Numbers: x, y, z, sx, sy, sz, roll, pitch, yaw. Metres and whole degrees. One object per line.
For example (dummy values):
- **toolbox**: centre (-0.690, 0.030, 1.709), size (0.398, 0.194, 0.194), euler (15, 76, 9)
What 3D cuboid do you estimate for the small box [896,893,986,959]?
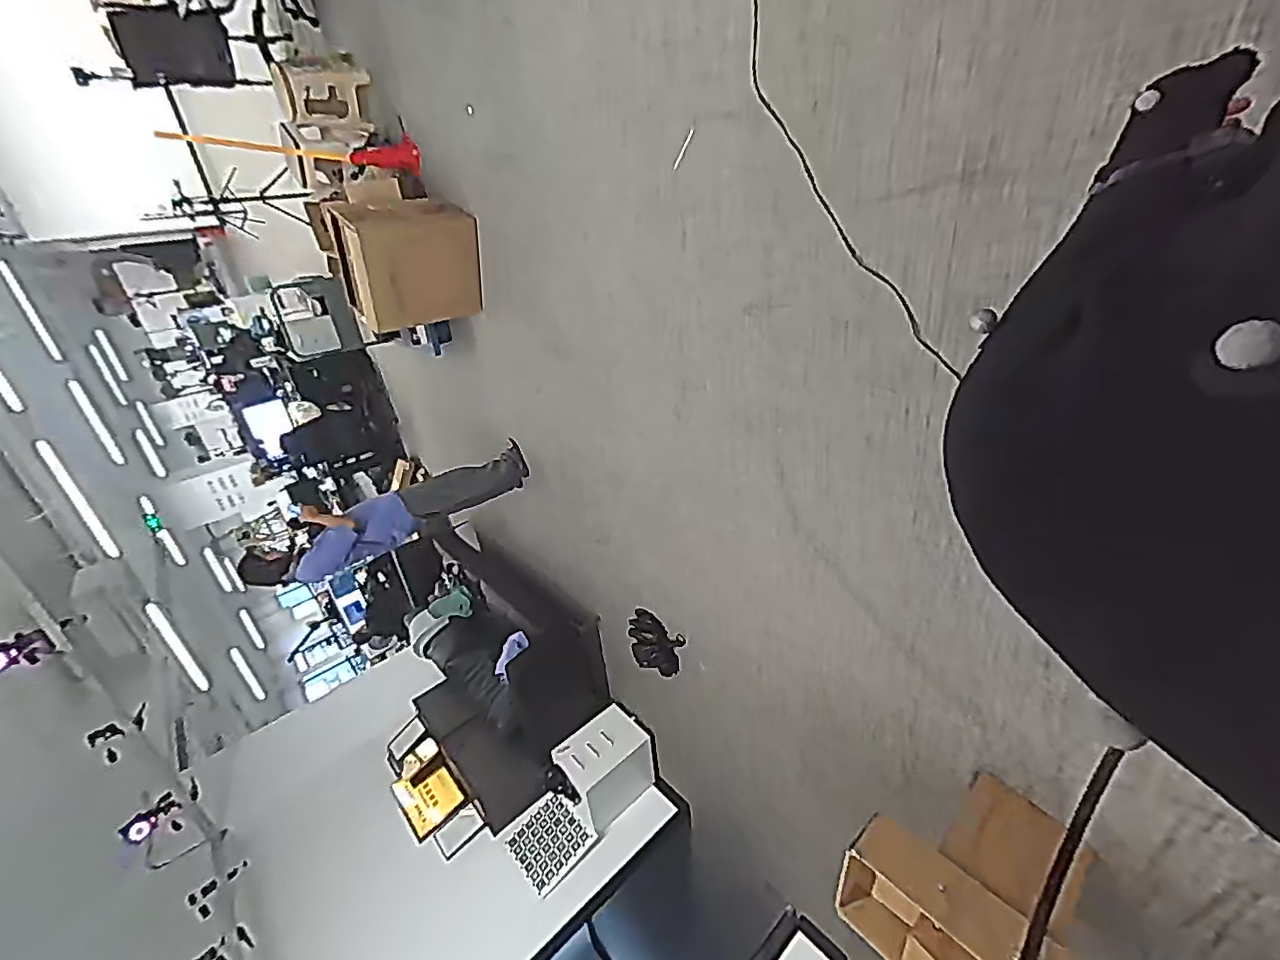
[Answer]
- **small box**: centre (0.855, 1.337, 1.536), size (0.168, 0.176, 0.179), euler (24, 132, 45)
